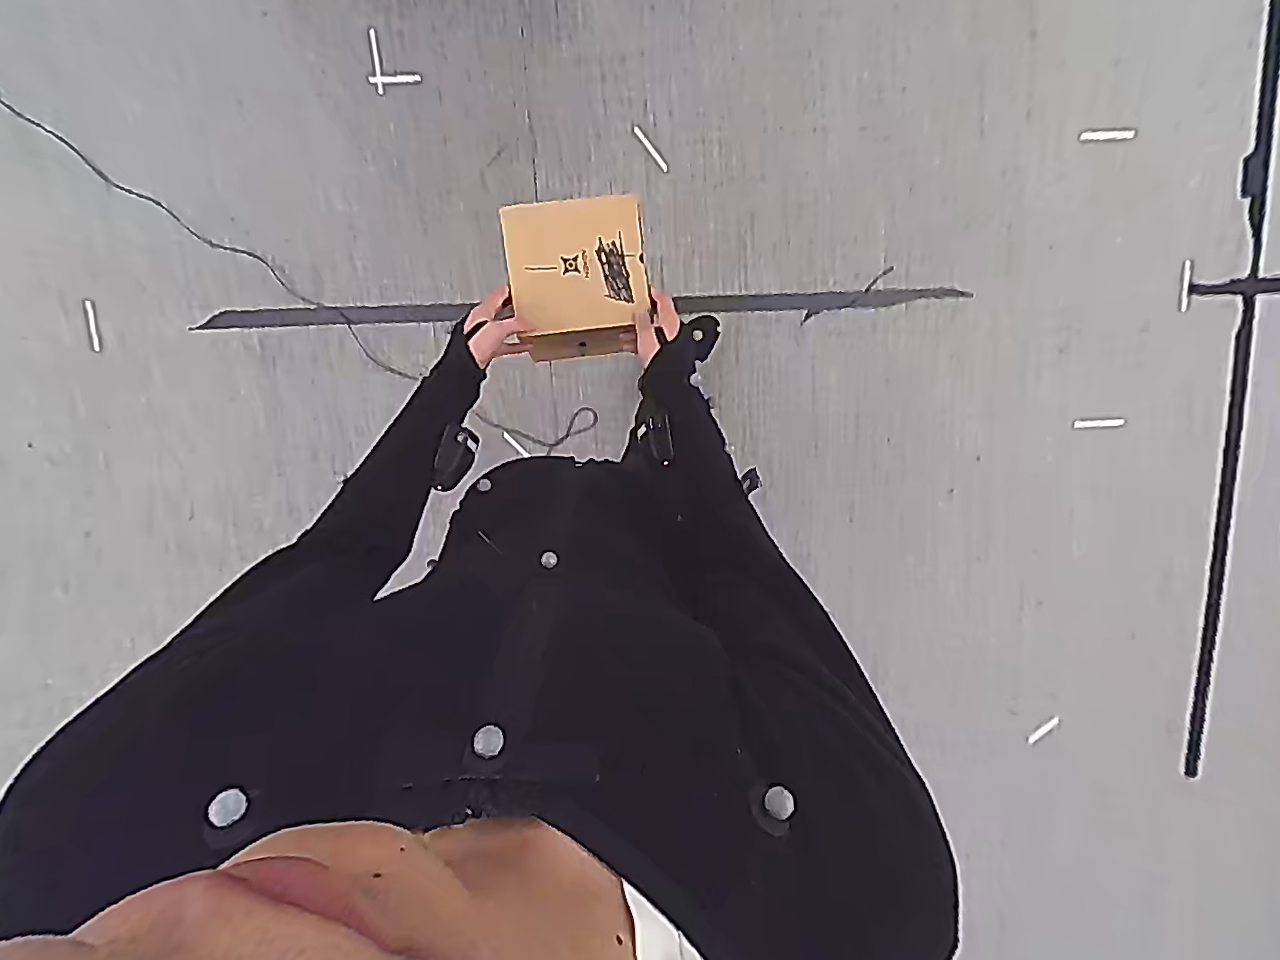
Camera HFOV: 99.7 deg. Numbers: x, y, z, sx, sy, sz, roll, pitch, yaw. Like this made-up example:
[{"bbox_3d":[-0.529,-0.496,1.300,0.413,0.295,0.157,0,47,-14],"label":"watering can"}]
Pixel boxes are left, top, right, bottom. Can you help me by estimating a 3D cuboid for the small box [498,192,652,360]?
[{"bbox_3d":[-0.086,-0.270,0.749,0.179,0.176,0.168,-8,92,-4],"label":"small box"}]
